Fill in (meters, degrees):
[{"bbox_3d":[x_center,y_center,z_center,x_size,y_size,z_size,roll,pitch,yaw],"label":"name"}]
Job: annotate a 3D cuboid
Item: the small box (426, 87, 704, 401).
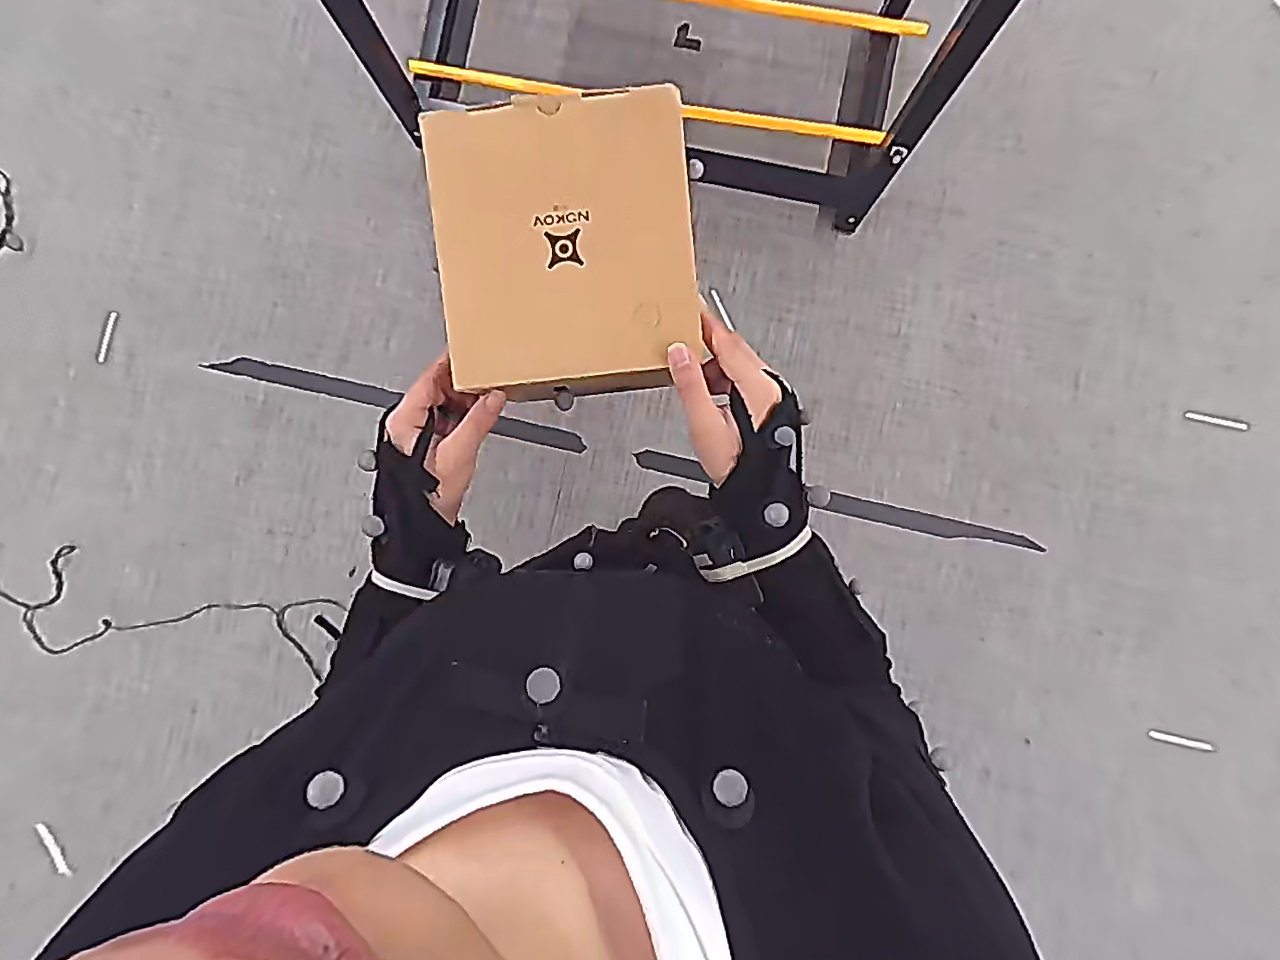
[{"bbox_3d":[-0.044,-0.157,0.425,0.168,0.176,0.179,-7,94,2],"label":"small box"}]
